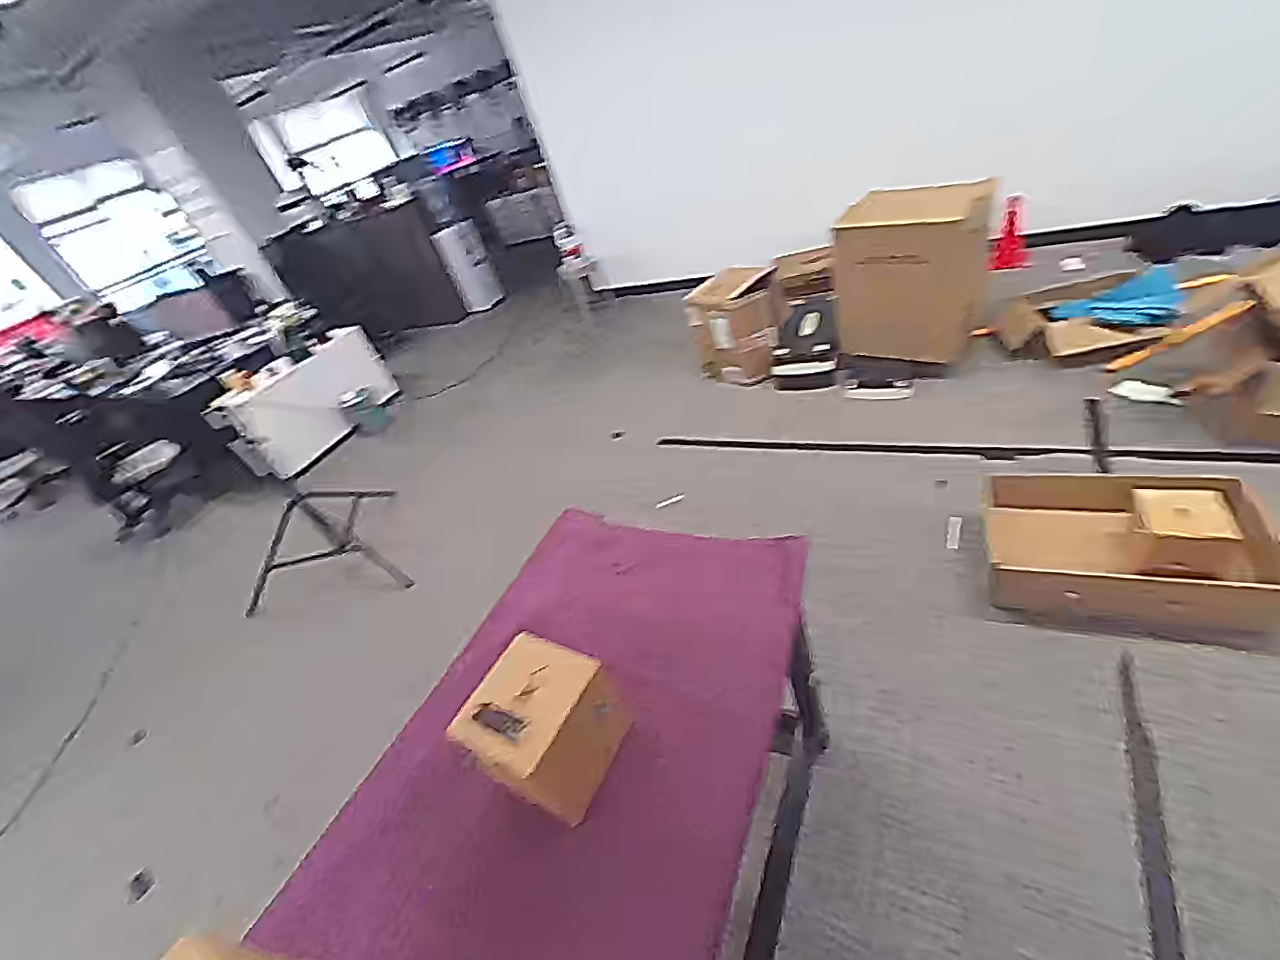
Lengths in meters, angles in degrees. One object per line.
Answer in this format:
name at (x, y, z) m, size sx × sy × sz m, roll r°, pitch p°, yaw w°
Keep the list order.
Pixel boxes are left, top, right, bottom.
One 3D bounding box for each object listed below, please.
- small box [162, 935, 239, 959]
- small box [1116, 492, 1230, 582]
small box at (-0.355, 0.532, 0.442) m, size 0.168 × 0.176 × 0.179 m, roll 4°, pitch 43°, yaw 29°
small box at (1.440, 0.153, 1.476) m, size 0.168 × 0.176 × 0.179 m, roll 0°, pitch 42°, yaw 27°
